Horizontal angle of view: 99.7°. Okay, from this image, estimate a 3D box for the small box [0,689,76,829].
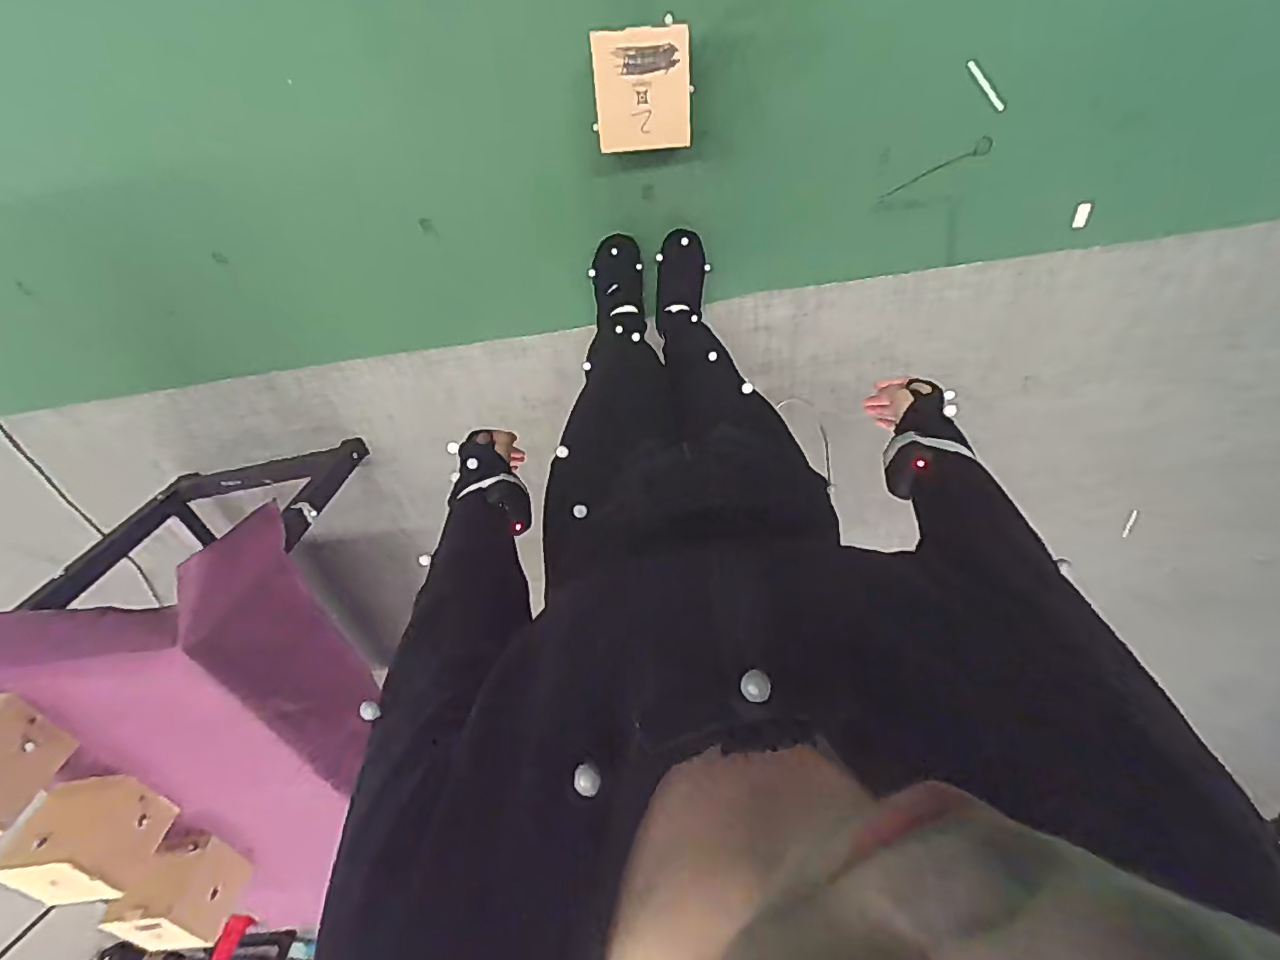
[{"bbox_3d":[-1.177,0.492,0.943,0.179,0.176,0.168,-10,125,3],"label":"small box"}]

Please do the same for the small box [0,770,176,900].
[{"bbox_3d":[-1.128,0.724,1.108,0.179,0.176,0.168,-11,124,5],"label":"small box"}]

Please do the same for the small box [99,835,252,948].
[{"bbox_3d":[-1.069,0.953,1.262,0.168,0.176,0.179,-9,125,5],"label":"small box"}]
